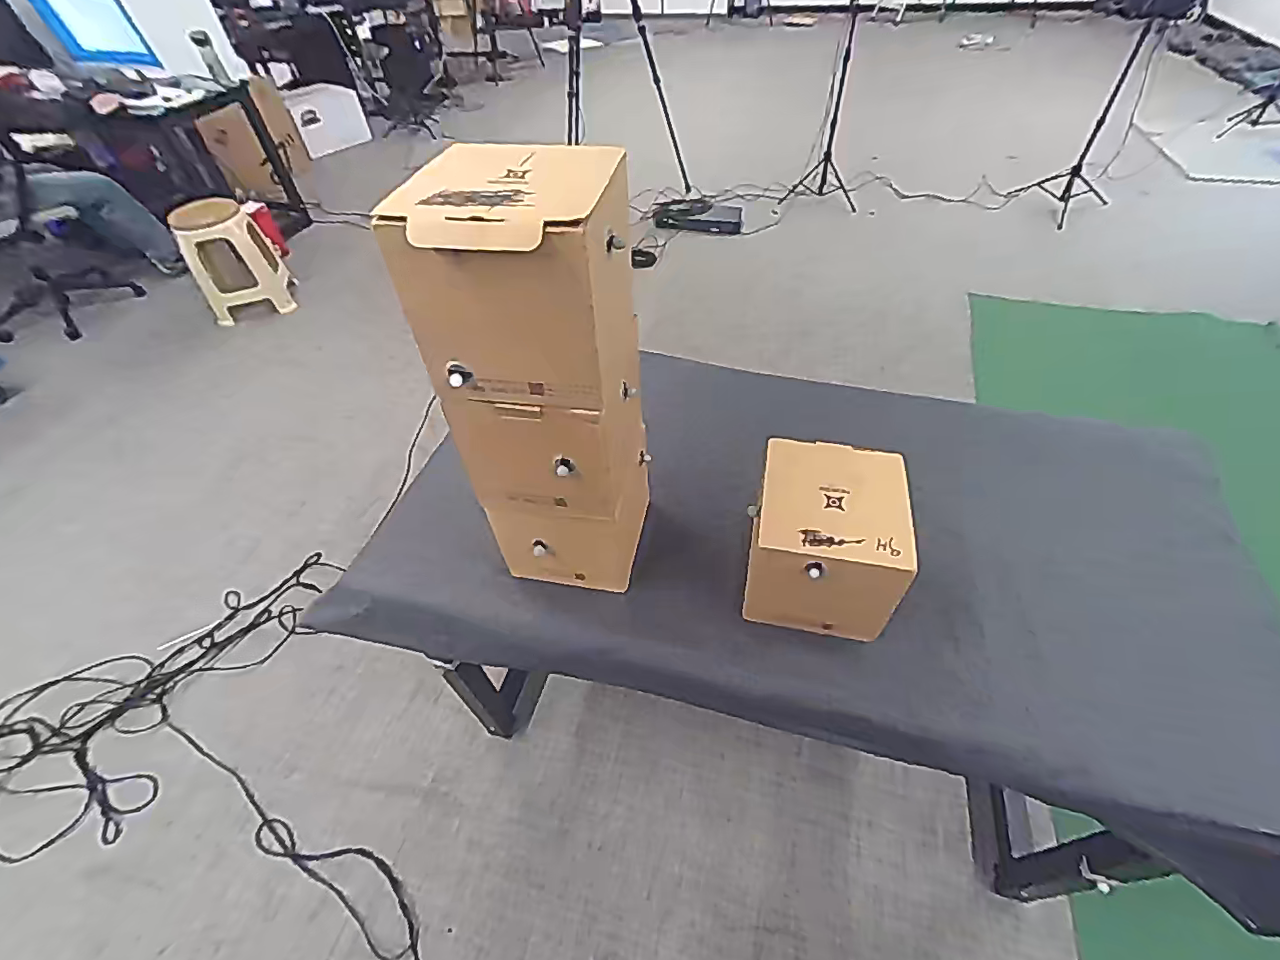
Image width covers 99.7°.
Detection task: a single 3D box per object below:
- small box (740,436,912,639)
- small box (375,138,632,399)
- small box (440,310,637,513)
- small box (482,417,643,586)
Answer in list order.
[{"bbox_3d":[0.224,0.072,0.687,0.168,0.176,0.179,9,49,10],"label":"small box"},{"bbox_3d":[-0.101,-0.194,0.500,0.168,0.176,0.179,6,48,6],"label":"small box"},{"bbox_3d":[-0.098,-0.083,0.622,0.168,0.176,0.179,7,48,7],"label":"small box"},{"bbox_3d":[-0.091,0.024,0.744,0.168,0.176,0.179,7,49,9],"label":"small box"}]
